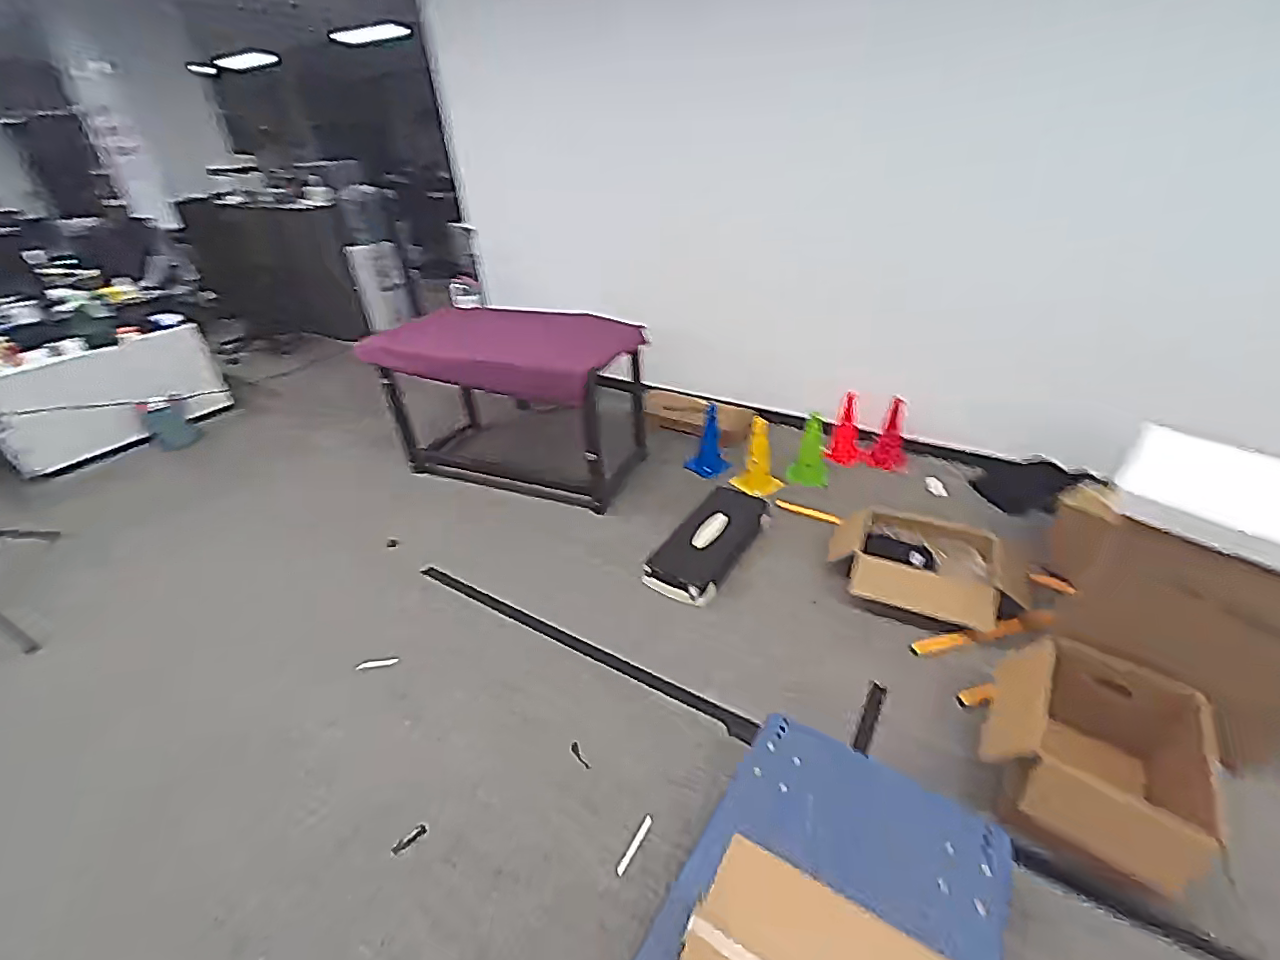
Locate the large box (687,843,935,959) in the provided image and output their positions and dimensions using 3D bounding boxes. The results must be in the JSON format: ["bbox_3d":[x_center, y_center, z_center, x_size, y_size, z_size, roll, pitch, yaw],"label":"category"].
[{"bbox_3d":[0.263,0.889,0.847,0.408,0.320,0.320,18,39,27],"label":"large box"}]
